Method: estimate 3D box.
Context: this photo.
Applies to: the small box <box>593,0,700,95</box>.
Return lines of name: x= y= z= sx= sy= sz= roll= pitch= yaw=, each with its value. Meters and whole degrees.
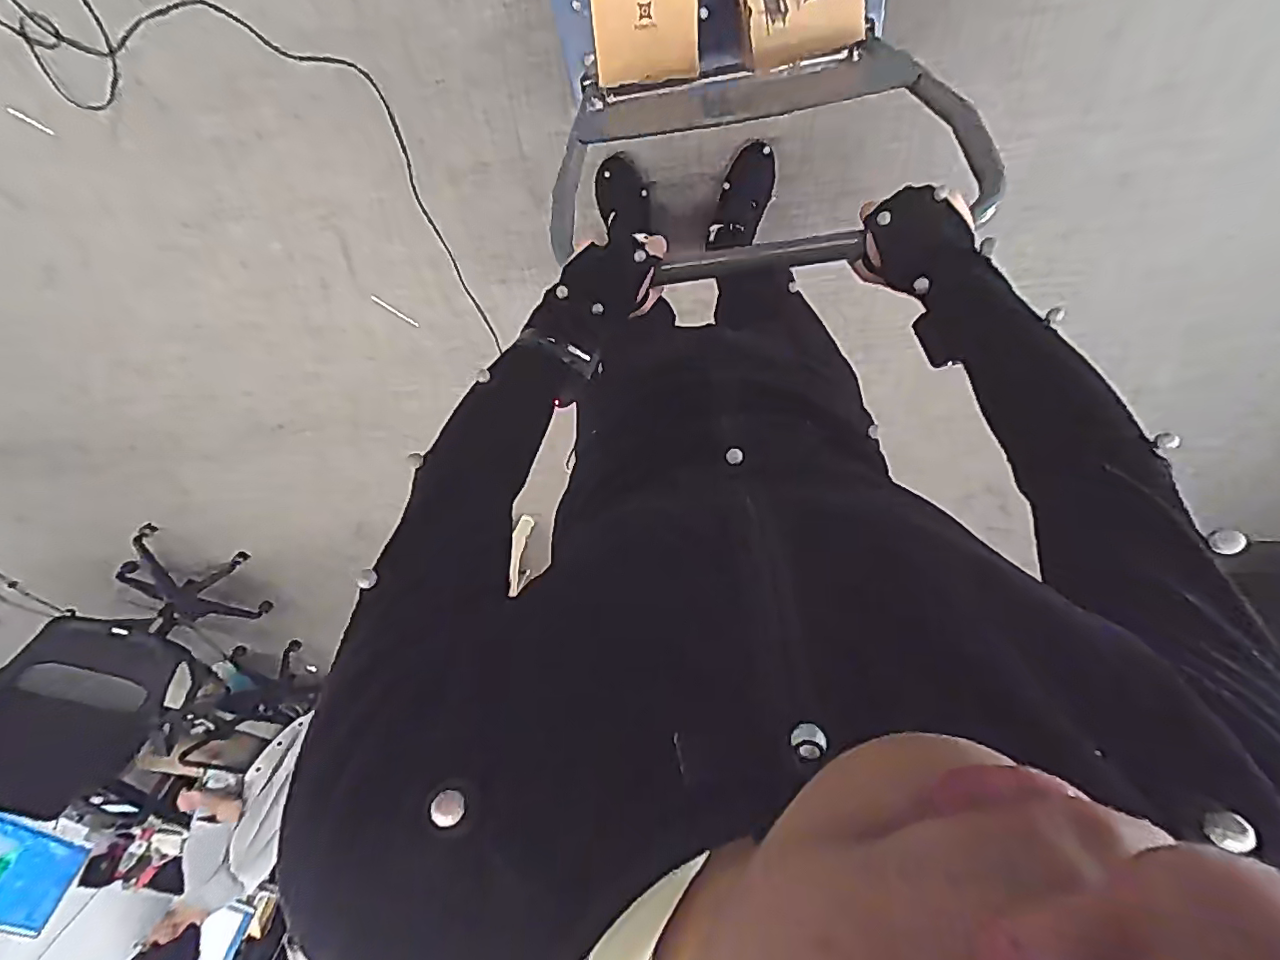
small box: x=0.012 y=-0.768 z=0.898 sx=0.168 sy=0.176 sz=0.179 roll=-3 pitch=136 yaw=5
